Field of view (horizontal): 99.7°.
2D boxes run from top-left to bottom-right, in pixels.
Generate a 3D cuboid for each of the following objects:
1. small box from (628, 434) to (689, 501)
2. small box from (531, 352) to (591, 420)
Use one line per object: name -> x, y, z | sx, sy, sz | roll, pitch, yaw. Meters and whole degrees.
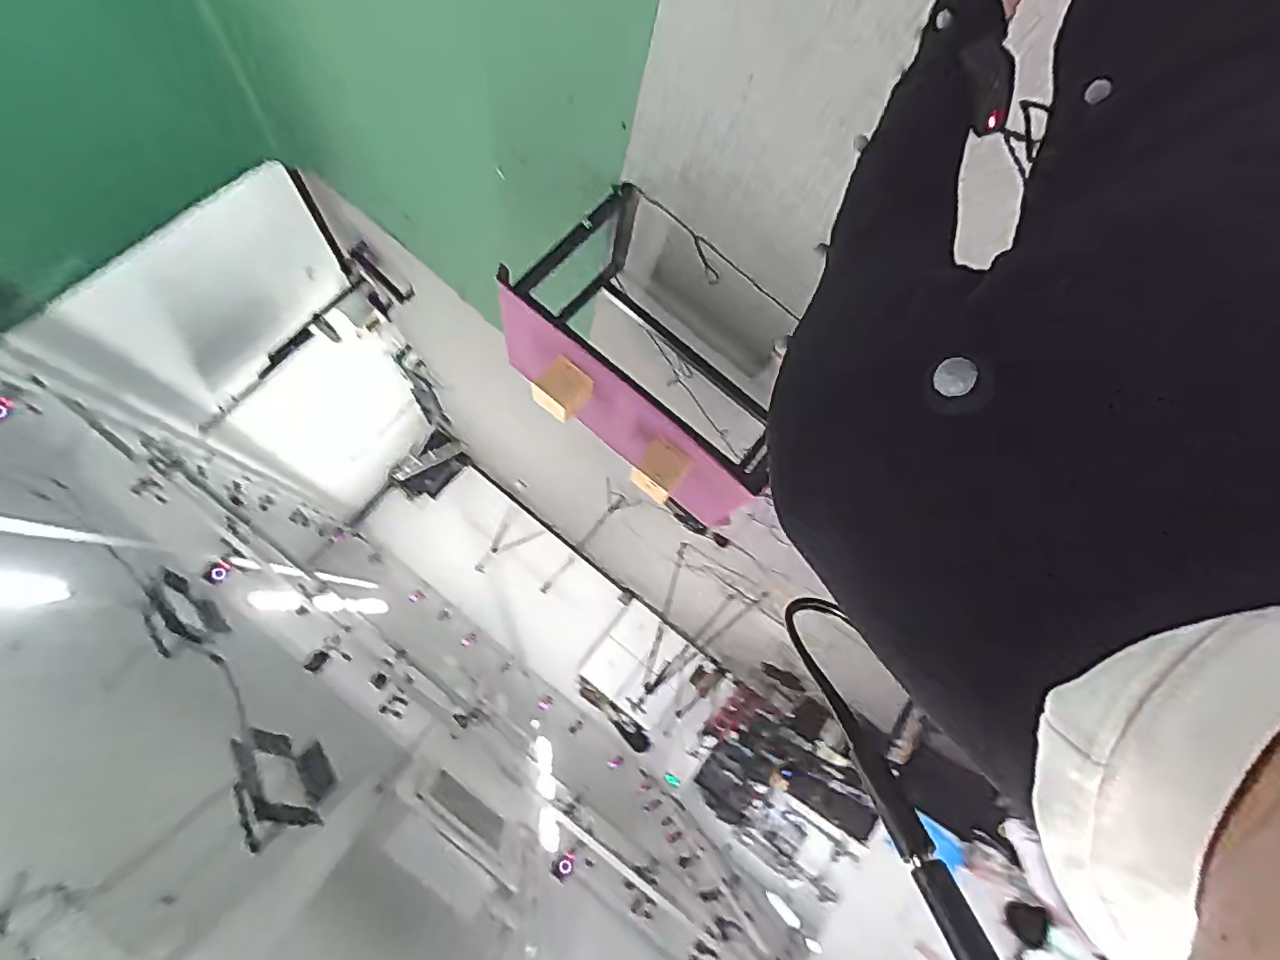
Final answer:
small box -> 0.074, -0.050, 2.115 | 0.168, 0.176, 0.179 | 38, 163, 6
small box -> -0.307, -0.370, 2.121 | 0.168, 0.176, 0.179 | 39, 164, 2
